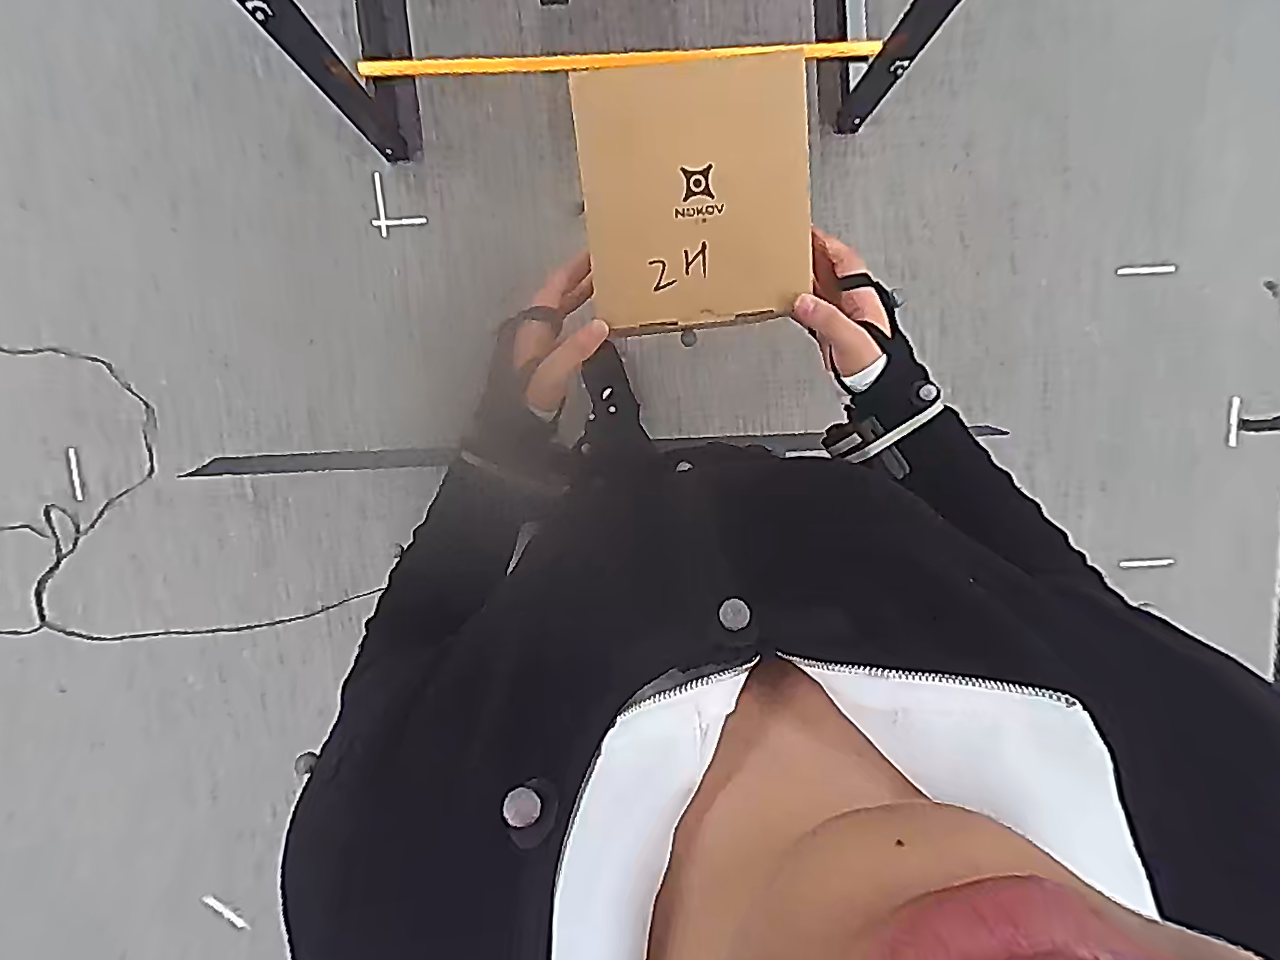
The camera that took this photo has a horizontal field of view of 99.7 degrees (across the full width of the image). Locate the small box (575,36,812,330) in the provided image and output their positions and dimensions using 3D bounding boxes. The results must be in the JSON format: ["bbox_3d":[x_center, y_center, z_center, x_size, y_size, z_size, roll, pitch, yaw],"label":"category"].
[{"bbox_3d":[0.039,-0.231,0.467,0.168,0.176,0.179,-6,102,0],"label":"small box"}]
